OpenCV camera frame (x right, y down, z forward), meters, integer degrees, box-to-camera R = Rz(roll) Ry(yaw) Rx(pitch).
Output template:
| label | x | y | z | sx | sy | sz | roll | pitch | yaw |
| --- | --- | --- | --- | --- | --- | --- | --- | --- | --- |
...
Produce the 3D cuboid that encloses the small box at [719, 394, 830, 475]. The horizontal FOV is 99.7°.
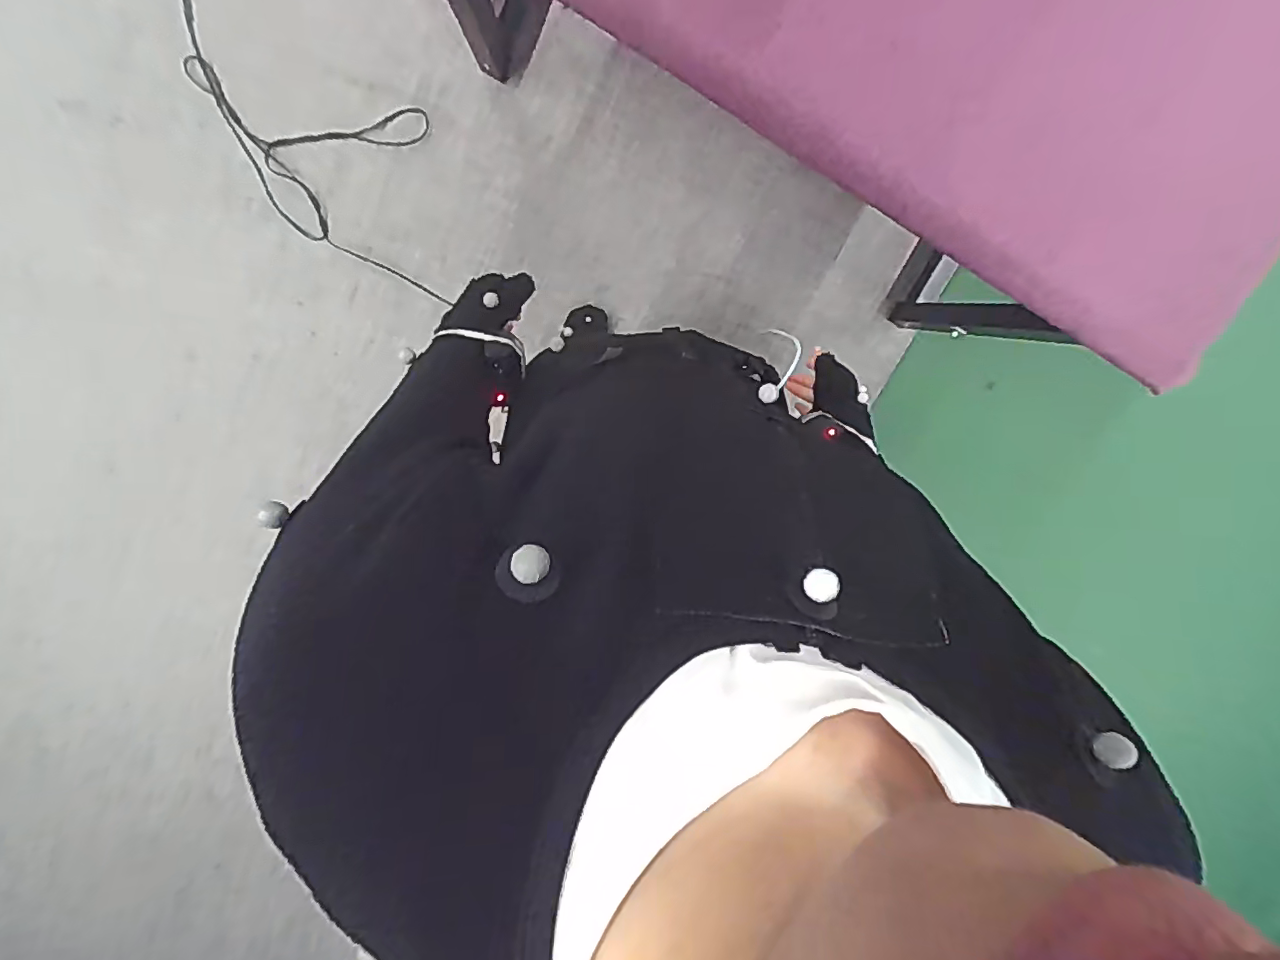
| label | x | y | z | sx | sy | sz | roll | pitch | yaw |
| --- | --- | --- | --- | --- | --- | --- | --- | --- | --- |
| small box | 0.302 | -0.079 | 1.267 | 0.168 | 0.176 | 0.179 | 28 | 103 | -14 |
